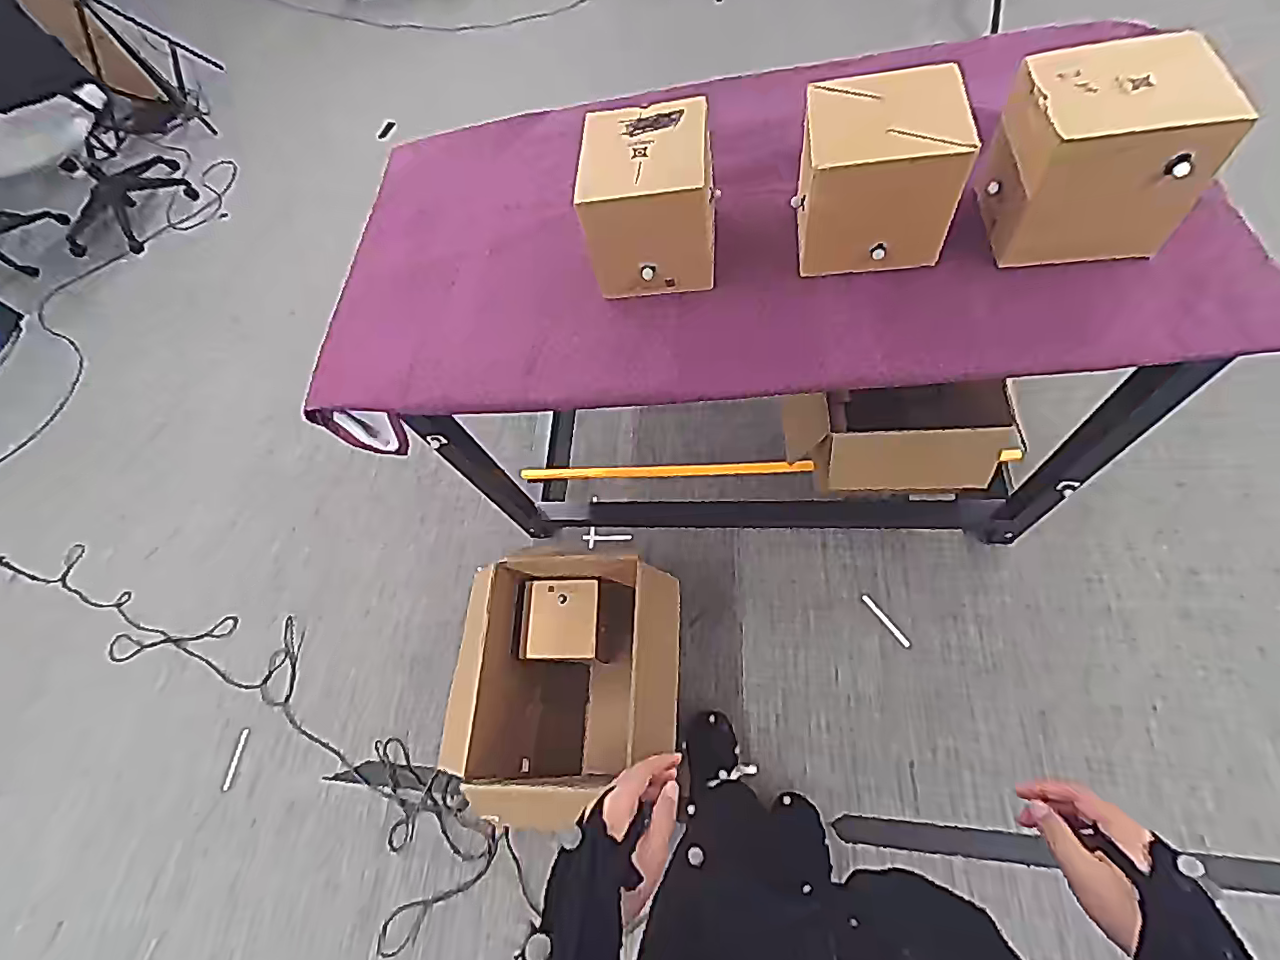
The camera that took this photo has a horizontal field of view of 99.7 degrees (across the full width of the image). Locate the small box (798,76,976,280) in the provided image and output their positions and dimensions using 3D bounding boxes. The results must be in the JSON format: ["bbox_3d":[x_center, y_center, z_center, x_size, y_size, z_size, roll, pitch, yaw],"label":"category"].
[{"bbox_3d":[0.306,-0.392,0.711,0.179,0.176,0.168,0,63,13],"label":"small box"}]

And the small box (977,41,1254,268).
[{"bbox_3d":[0.546,-0.382,0.656,0.179,0.176,0.168,0,62,12],"label":"small box"}]

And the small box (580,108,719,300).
[{"bbox_3d":[0.024,-0.385,0.772,0.168,0.176,0.179,-1,64,12],"label":"small box"}]
